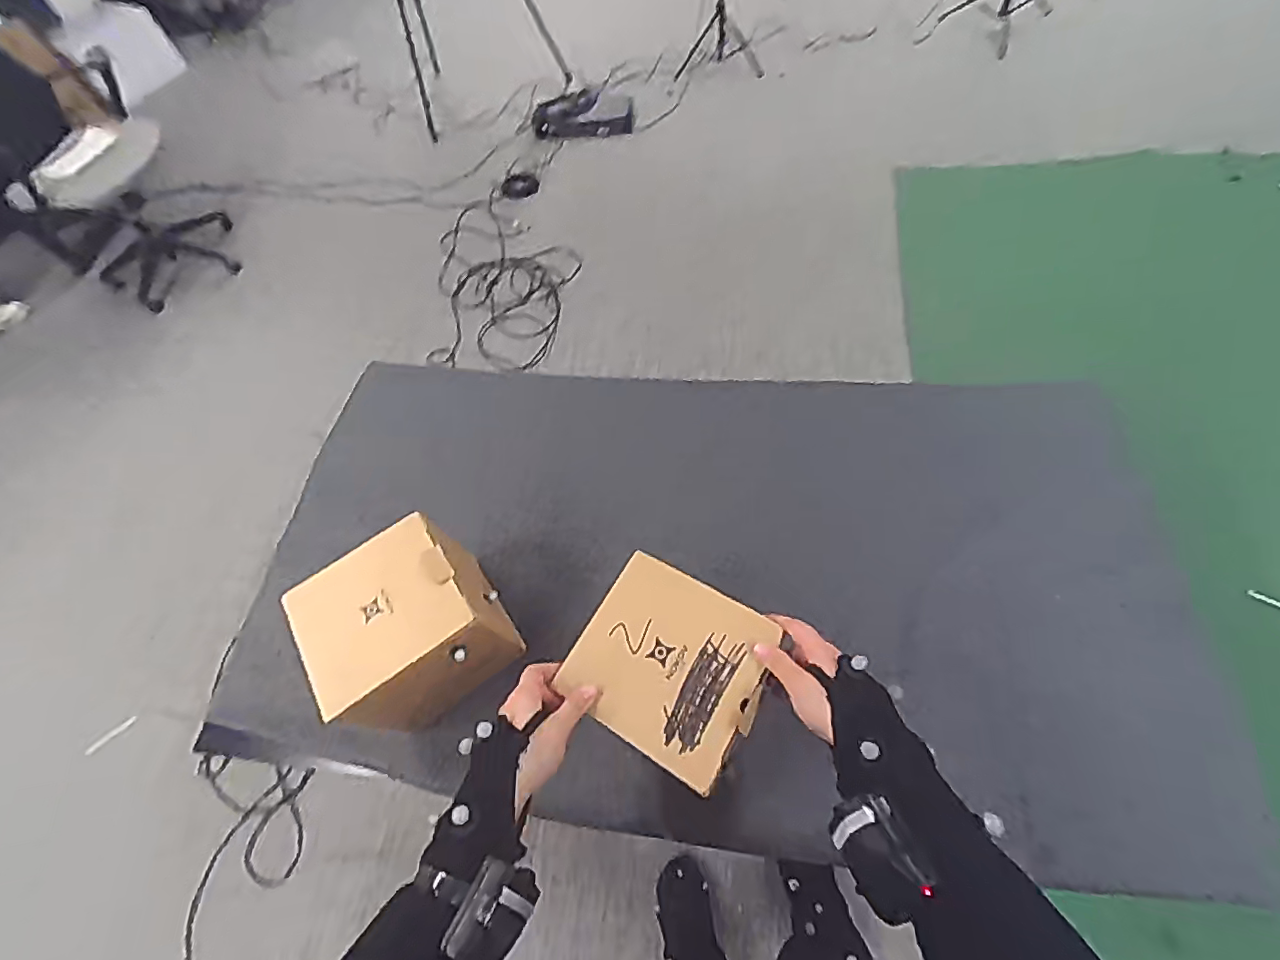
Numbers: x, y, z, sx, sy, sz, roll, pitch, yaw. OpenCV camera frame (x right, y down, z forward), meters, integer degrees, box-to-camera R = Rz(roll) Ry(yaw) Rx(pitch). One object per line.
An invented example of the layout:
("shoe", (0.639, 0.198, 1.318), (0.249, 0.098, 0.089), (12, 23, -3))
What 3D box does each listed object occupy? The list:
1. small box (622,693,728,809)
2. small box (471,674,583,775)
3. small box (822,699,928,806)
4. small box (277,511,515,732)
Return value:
("small box", (0.086, 0.599, 1.197), (0.179, 0.176, 0.168), (20, 64, 20))
("small box", (-0.255, 0.576, 1.264), (0.179, 0.176, 0.168), (13, 63, 15))
("small box", (0.489, 0.579, 1.147), (0.179, 0.176, 0.168), (7, 62, 11))
("small box", (-0.281, 0.177, 0.650), (0.179, 0.176, 0.168), (-35, 61, -12))
